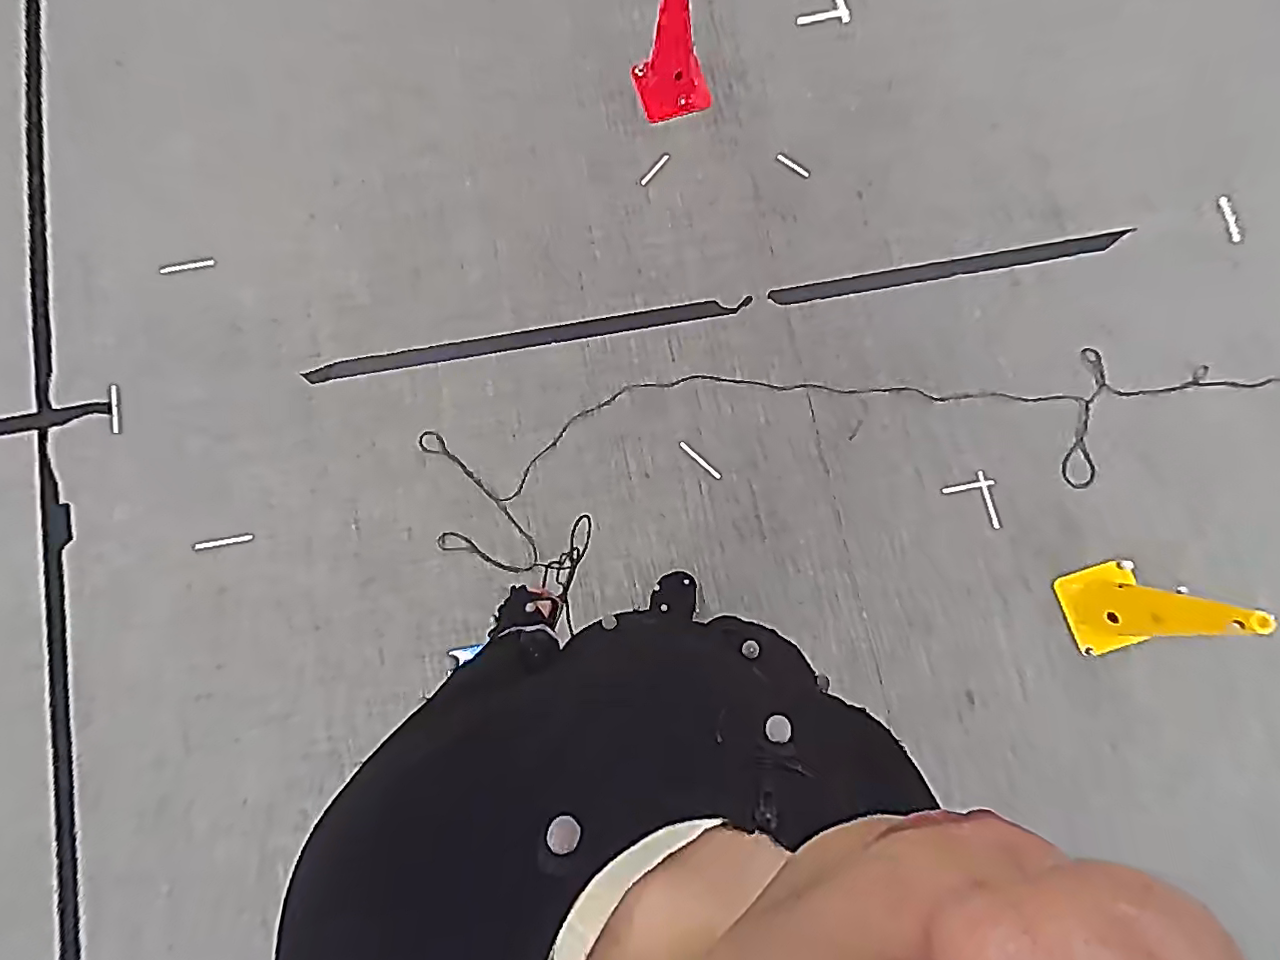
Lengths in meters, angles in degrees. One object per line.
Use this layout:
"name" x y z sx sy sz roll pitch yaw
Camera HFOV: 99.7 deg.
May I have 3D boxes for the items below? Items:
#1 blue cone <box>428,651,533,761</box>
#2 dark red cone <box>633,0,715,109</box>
"blue cone" -0.370 0.505 1.166 0.193 0.380 0.192 -10 83 0
"dark red cone" 0.094 -1.180 1.377 0.202 0.394 0.201 -18 83 -2
